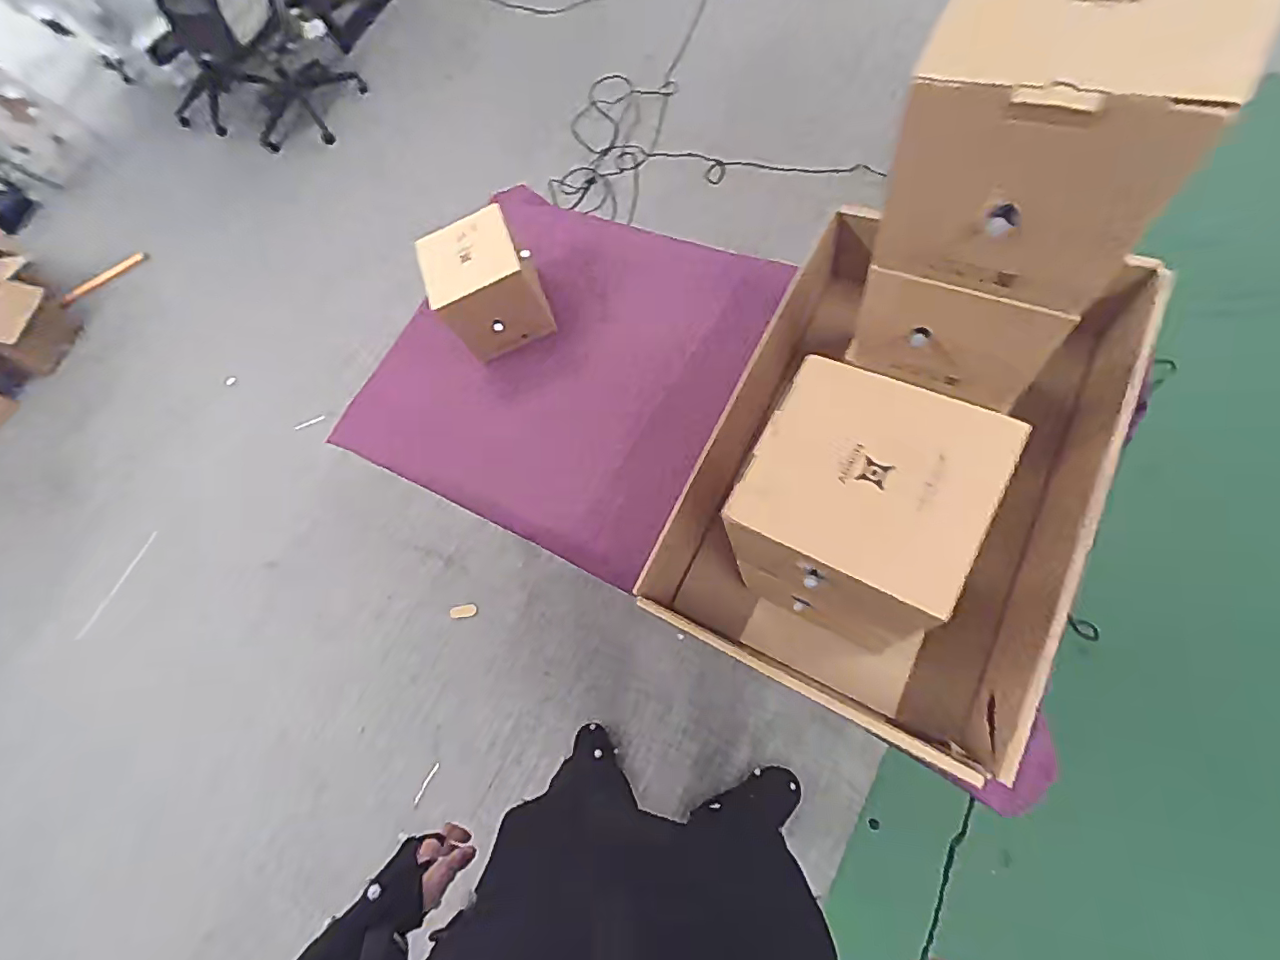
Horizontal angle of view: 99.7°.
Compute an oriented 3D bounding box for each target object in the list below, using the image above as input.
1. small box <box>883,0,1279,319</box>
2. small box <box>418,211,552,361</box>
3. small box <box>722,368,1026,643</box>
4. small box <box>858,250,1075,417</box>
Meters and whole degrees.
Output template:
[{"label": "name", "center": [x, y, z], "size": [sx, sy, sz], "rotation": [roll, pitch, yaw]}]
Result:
[{"label": "small box", "center": [0.298, -0.251, 0.401], "size": [0.168, 0.176, 0.179], "rotation": [26, 78, 22]}, {"label": "small box", "center": [-0.279, -0.344, 0.999], "size": [0.168, 0.176, 0.179], "rotation": [-22, 65, 3]}, {"label": "small box", "center": [0.197, 0.033, 0.493], "size": [0.179, 0.176, 0.168], "rotation": [26, 77, 23]}, {"label": "small box", "center": [0.336, -0.191, 0.549], "size": [0.168, 0.176, 0.179], "rotation": [25, 77, 23]}]
